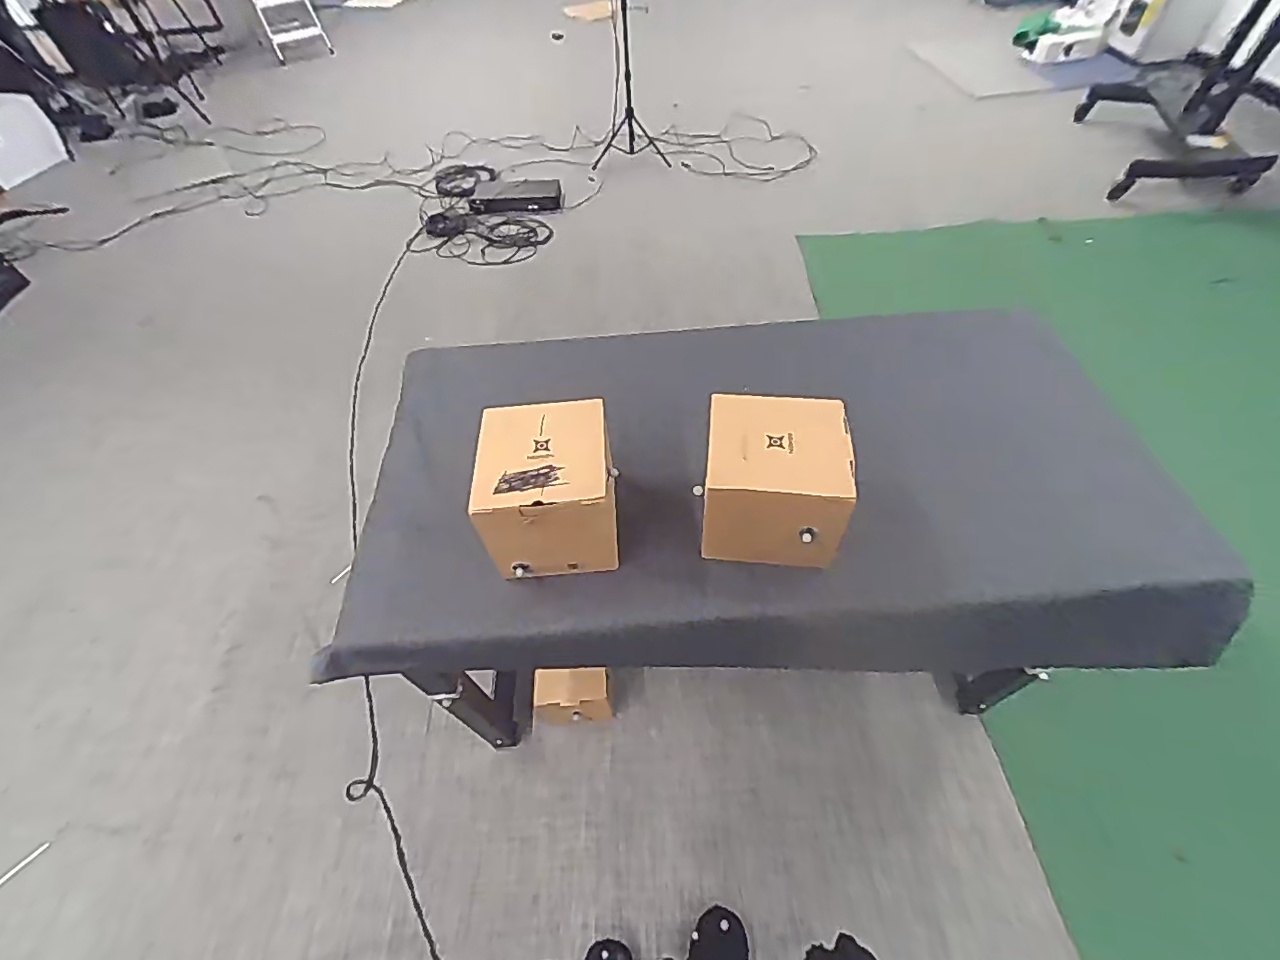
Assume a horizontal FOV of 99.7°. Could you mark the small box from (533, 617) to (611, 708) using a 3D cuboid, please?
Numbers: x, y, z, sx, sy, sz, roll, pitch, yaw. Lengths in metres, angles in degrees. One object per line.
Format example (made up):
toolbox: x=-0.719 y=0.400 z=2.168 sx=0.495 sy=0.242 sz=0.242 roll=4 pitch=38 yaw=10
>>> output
small box: x=-0.161 y=0.457 z=1.335 sx=0.168 sy=0.176 sz=0.179 roll=-4 pitch=54 yaw=0

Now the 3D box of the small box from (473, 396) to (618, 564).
small box: x=-0.119 y=0.007 z=0.756 sx=0.168 sy=0.176 sz=0.179 roll=-3 pitch=52 yaw=0

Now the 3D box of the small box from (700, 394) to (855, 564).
small box: x=0.179 y=0.003 z=0.748 sx=0.179 sy=0.176 sz=0.168 roll=4 pitch=53 yaw=7
